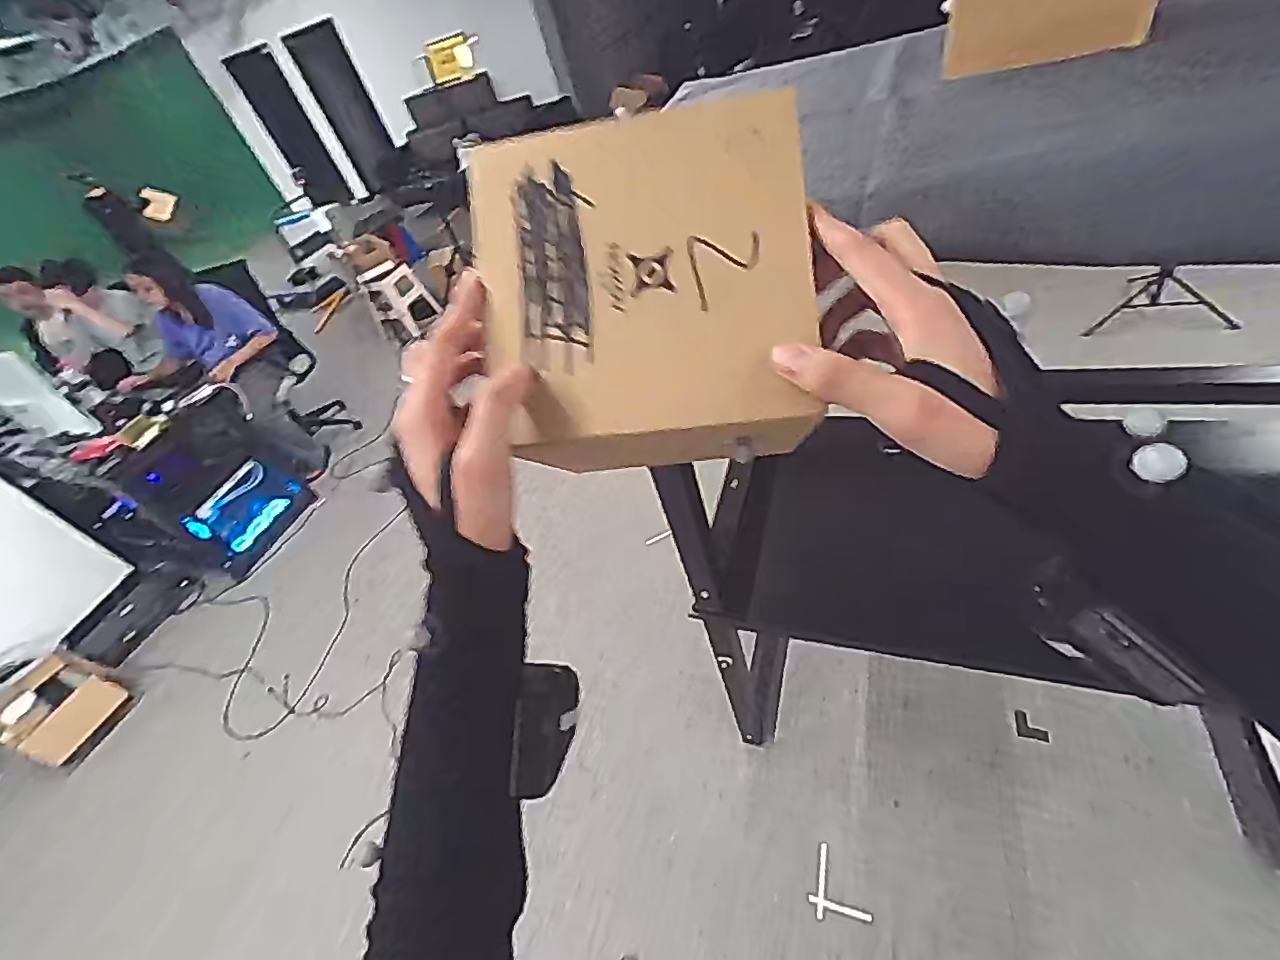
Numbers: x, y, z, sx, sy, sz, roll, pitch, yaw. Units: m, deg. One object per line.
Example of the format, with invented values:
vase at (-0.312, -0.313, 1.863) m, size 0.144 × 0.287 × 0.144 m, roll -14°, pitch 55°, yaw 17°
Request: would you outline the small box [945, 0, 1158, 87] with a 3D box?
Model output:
small box at (0.431, -0.541, 0.558) m, size 0.179 × 0.176 × 0.168 m, roll 8°, pitch 49°, yaw 27°
